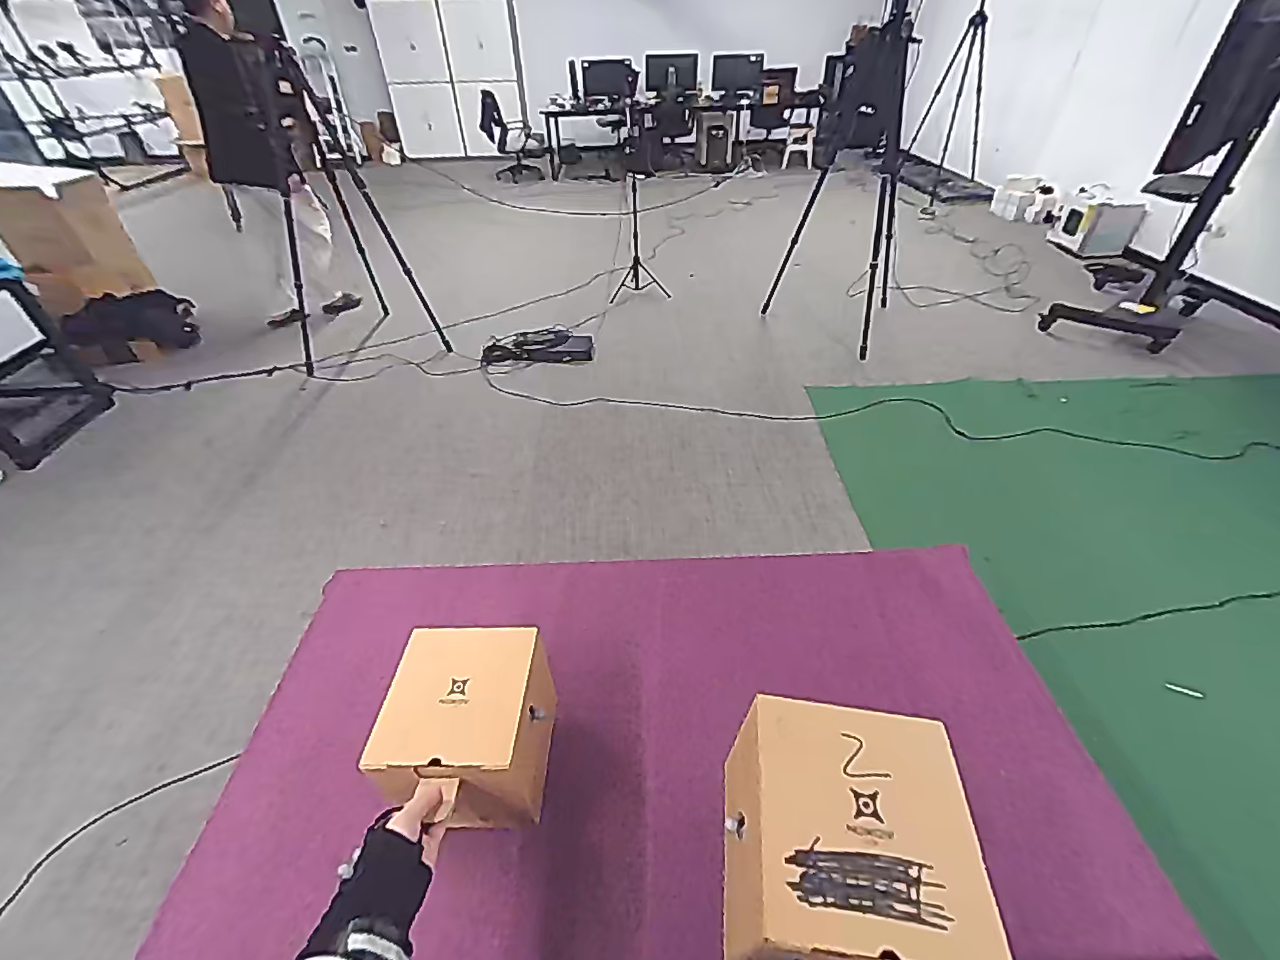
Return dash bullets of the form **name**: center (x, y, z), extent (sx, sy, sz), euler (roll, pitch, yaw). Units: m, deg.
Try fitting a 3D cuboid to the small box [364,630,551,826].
- **small box**: center (-0.214, 0.314, 0.695), extent (0.168, 0.176, 0.179), euler (-1, 40, 3)
